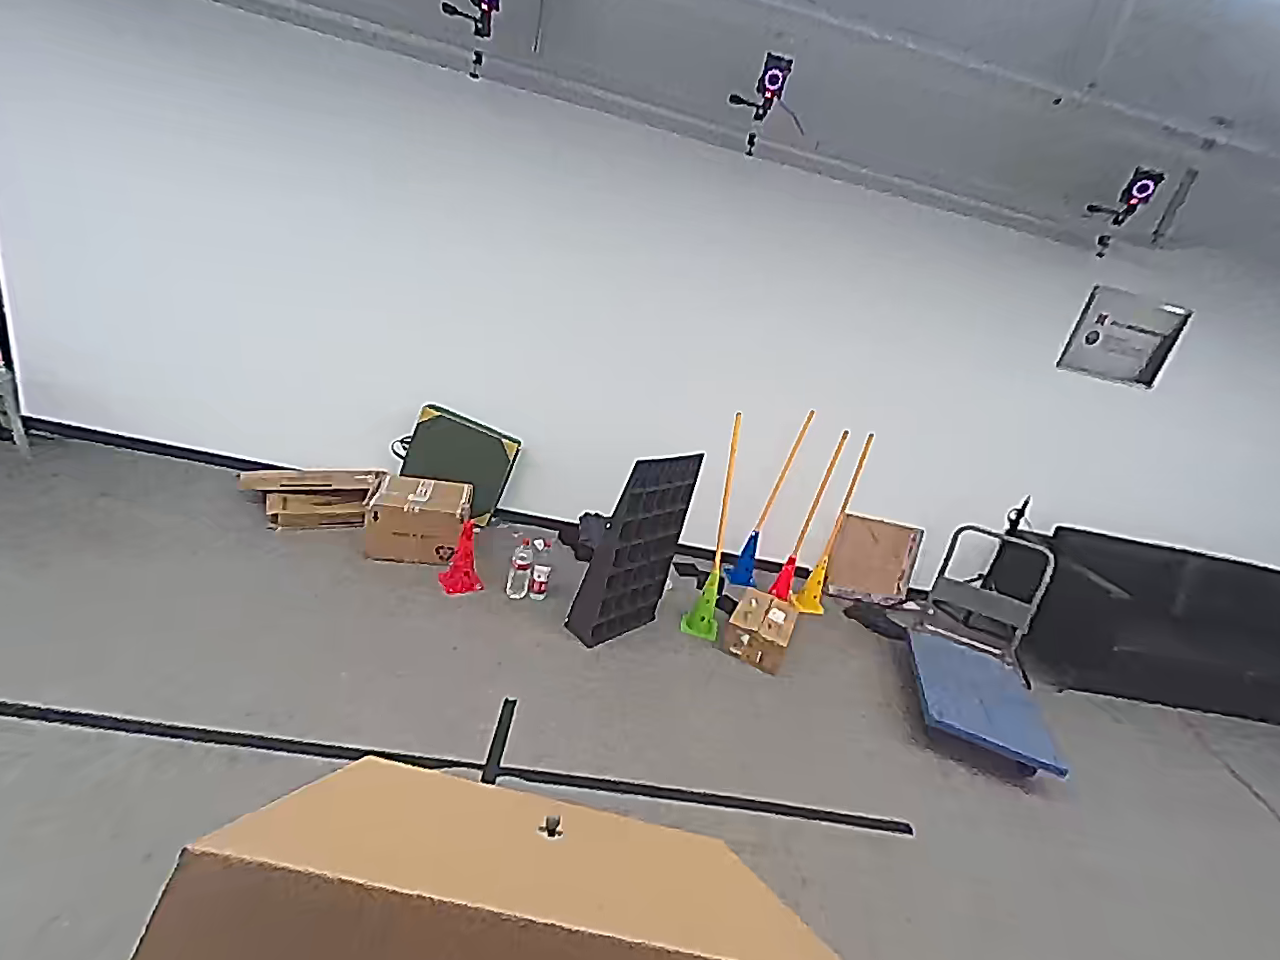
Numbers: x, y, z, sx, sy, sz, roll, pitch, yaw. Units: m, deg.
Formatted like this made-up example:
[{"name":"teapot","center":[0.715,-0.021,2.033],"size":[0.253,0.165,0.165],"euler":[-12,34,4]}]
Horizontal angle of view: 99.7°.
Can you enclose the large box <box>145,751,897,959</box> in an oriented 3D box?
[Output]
[{"name":"large box","center":[-0.095,0.415,0.385],"size":[0.408,0.320,0.320],"euler":[15,-20,-4]}]
